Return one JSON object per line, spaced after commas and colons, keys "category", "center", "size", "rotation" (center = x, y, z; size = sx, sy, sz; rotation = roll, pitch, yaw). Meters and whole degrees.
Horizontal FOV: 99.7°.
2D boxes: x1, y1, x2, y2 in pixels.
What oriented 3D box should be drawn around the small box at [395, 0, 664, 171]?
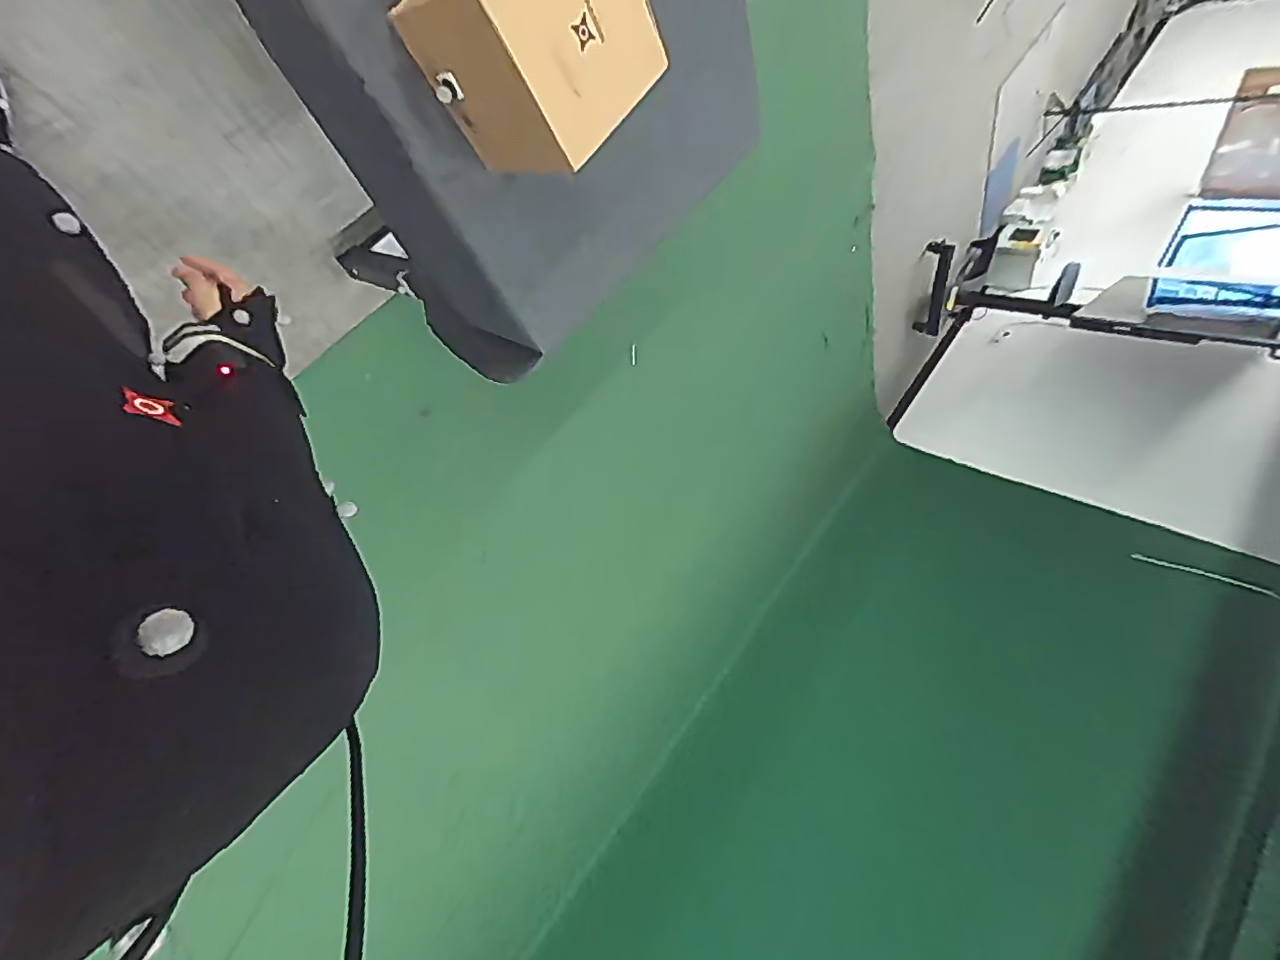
{"category": "small box", "center": [-0.111, -0.452, 0.555], "size": [0.179, 0.176, 0.168], "rotation": [-55, 141, -11]}
